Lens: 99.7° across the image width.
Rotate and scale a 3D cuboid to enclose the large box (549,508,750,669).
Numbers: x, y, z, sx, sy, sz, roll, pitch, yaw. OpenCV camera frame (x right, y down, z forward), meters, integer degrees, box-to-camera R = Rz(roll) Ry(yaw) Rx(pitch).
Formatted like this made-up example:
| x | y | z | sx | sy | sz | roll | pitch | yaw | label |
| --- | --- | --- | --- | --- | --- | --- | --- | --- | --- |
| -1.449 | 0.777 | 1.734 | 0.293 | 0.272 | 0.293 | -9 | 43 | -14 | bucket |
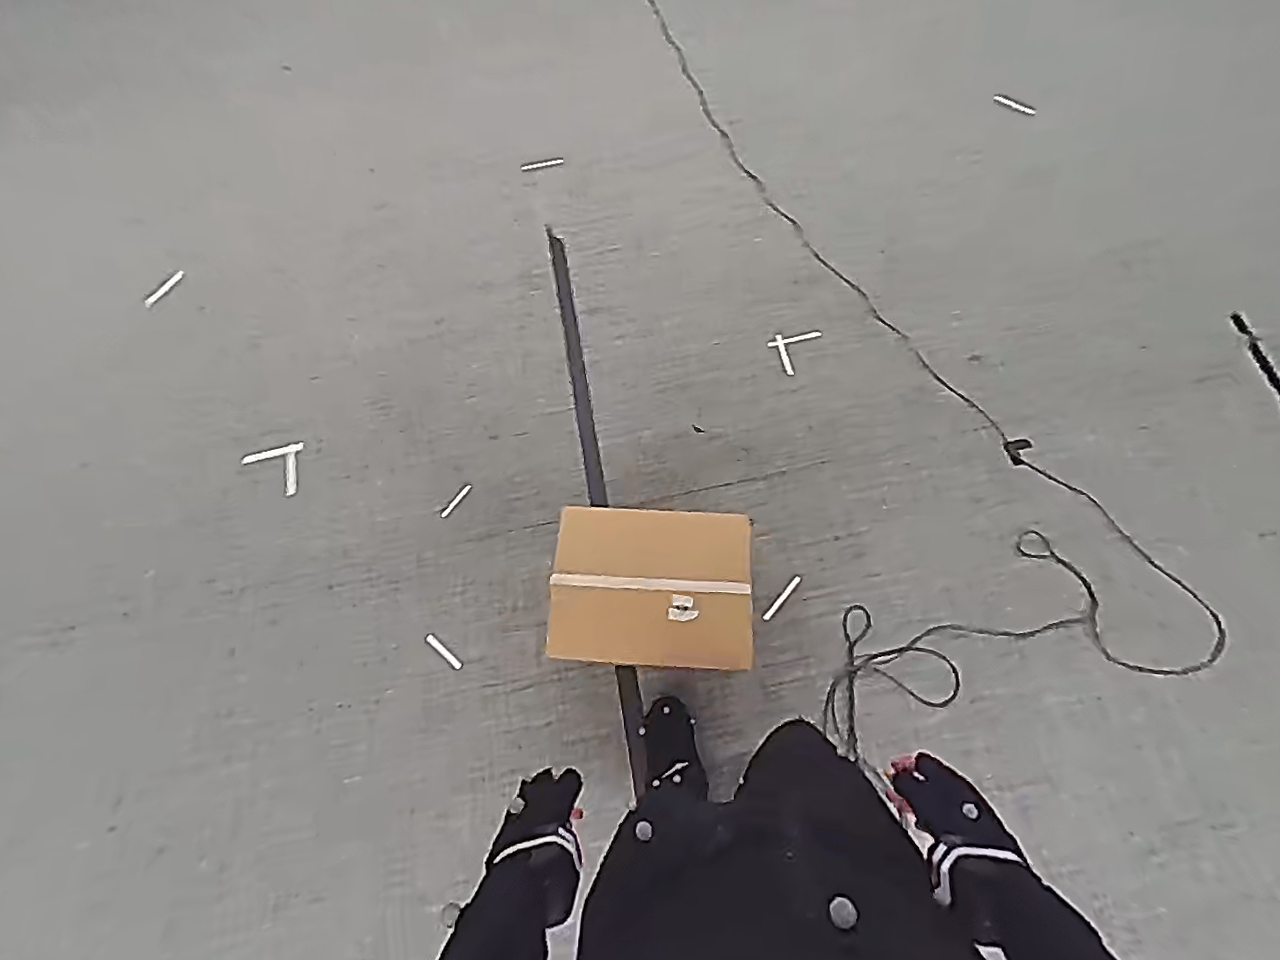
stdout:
| x | y | z | sx | sy | sz | roll | pitch | yaw | label |
| --- | --- | --- | --- | --- | --- | --- | --- | --- | --- |
| 0.028 | 0.261 | 1.244 | 0.408 | 0.320 | 0.320 | 2 | 71 | 4 | large box |
